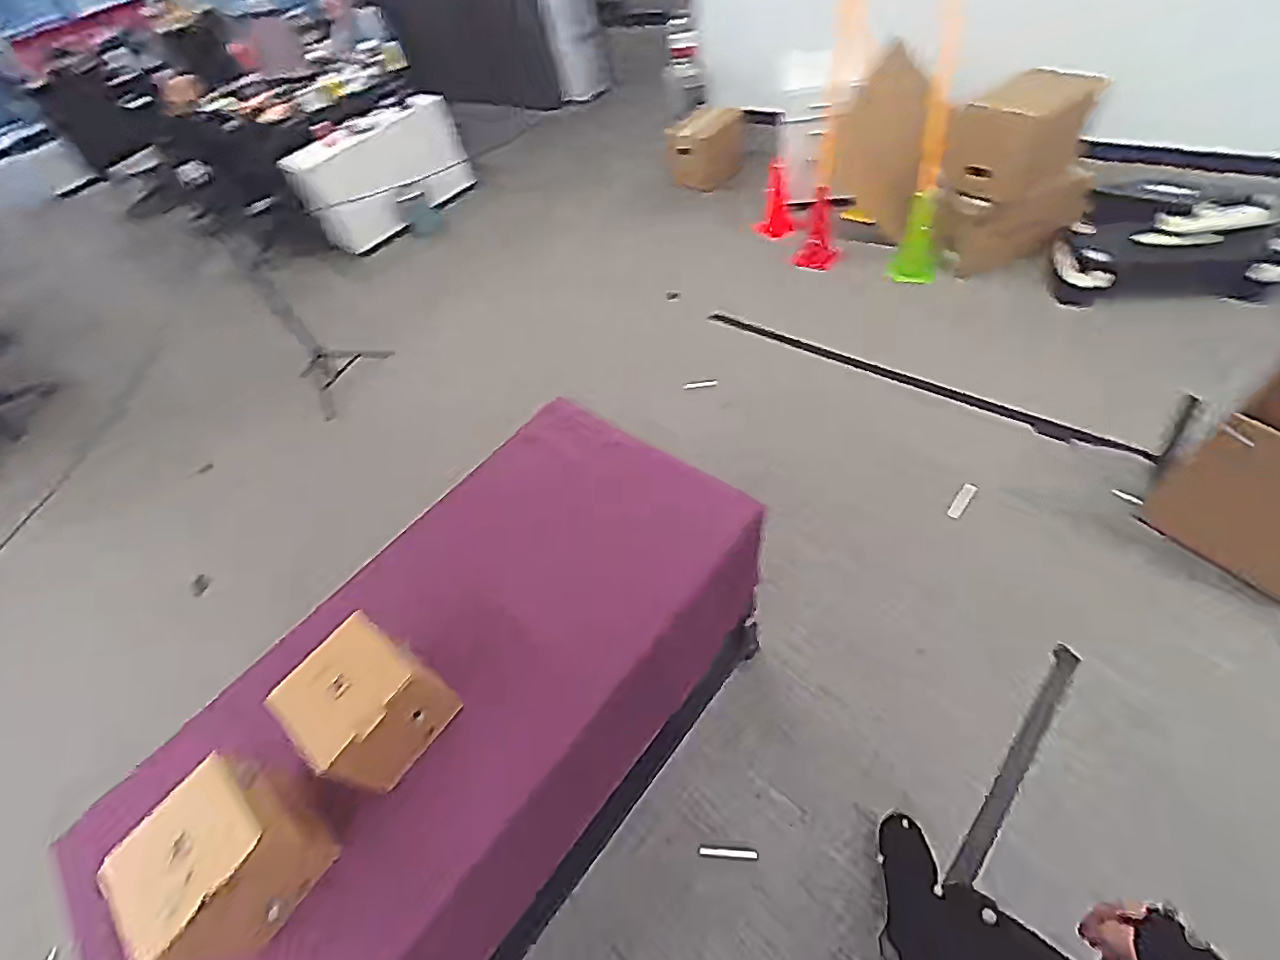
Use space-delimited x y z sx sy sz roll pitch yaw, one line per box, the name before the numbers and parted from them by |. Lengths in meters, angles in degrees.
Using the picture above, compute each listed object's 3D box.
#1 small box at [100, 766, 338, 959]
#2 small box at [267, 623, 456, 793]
small box | -0.575 0.543 0.756 0.179 0.176 0.168 25 63 29
small box | -0.431 0.367 0.861 0.179 0.176 0.168 26 62 31
